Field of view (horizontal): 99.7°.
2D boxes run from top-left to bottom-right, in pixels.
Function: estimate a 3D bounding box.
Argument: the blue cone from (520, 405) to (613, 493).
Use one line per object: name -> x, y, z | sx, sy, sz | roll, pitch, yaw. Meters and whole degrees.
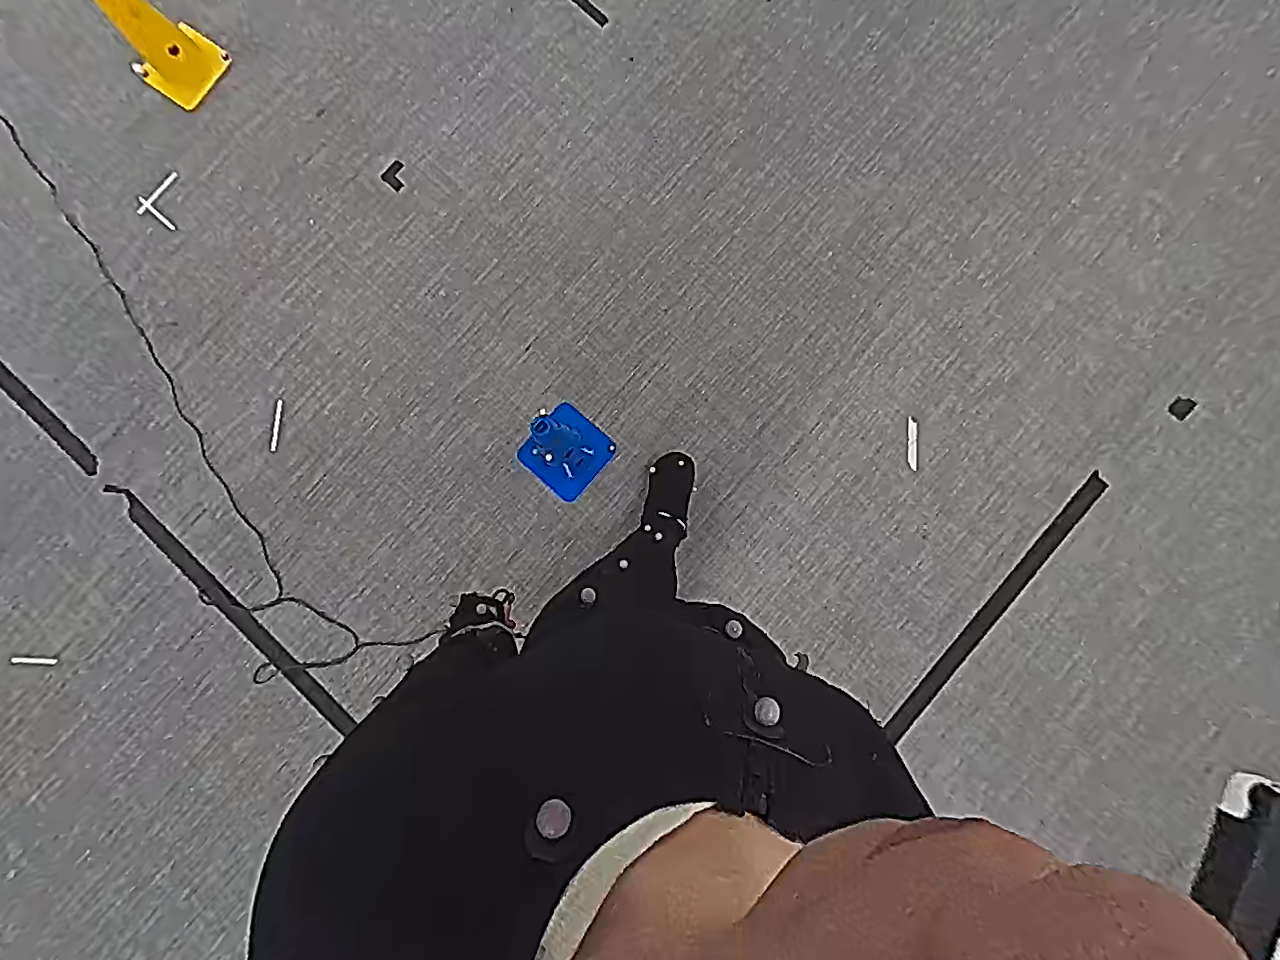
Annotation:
blue cone -> -0.193, -0.097, 1.233 | 0.193, 0.380, 0.192 | 42, 86, 4
